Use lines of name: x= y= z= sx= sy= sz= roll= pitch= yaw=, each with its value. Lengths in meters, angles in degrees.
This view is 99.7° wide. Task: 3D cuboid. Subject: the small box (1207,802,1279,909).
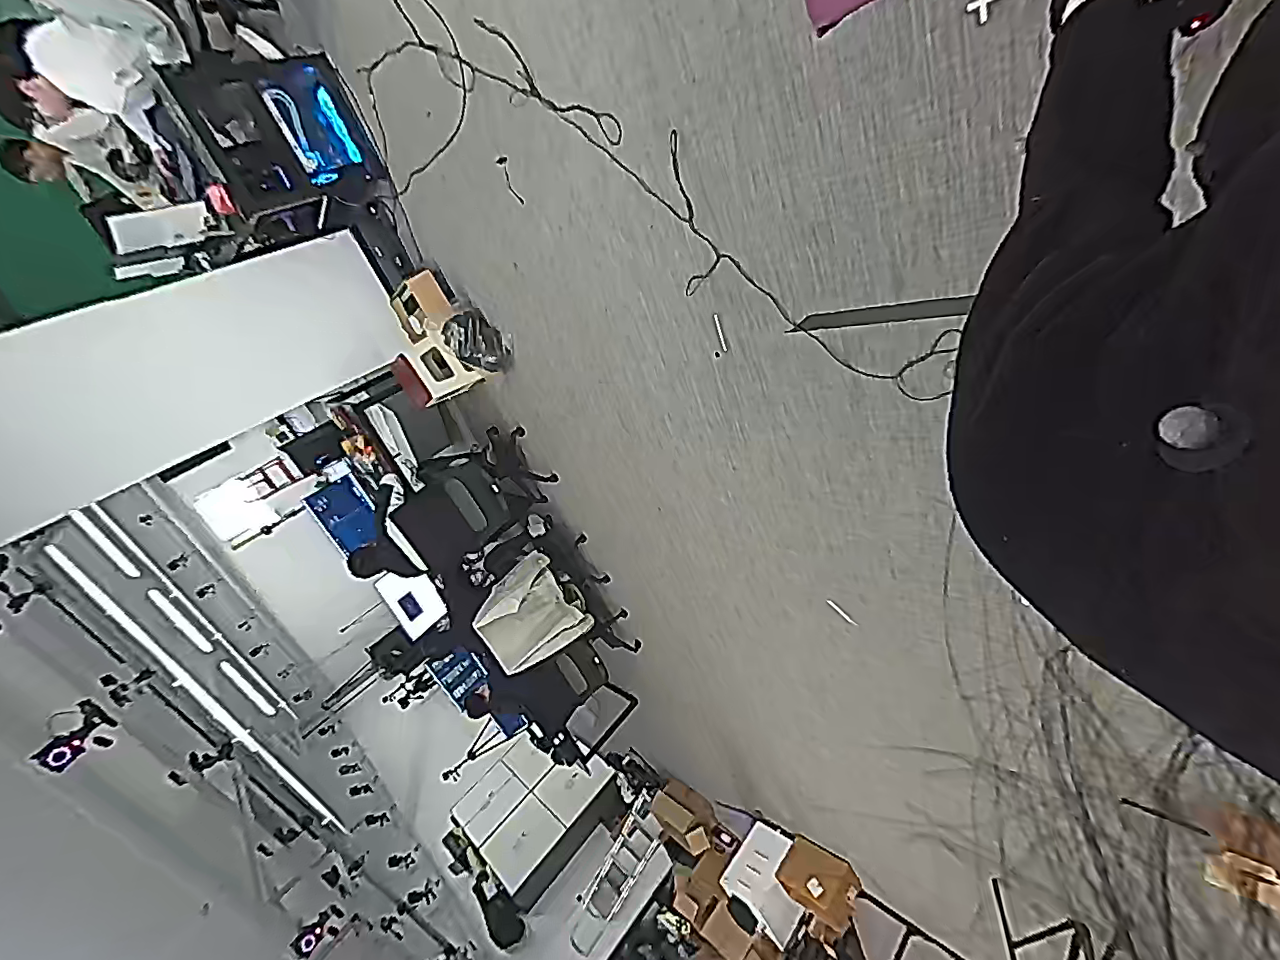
small box: x=1.809 y=1.104 z=1.598 sx=0.168 sy=0.176 sz=0.179 roll=7 pitch=129 yaw=49
